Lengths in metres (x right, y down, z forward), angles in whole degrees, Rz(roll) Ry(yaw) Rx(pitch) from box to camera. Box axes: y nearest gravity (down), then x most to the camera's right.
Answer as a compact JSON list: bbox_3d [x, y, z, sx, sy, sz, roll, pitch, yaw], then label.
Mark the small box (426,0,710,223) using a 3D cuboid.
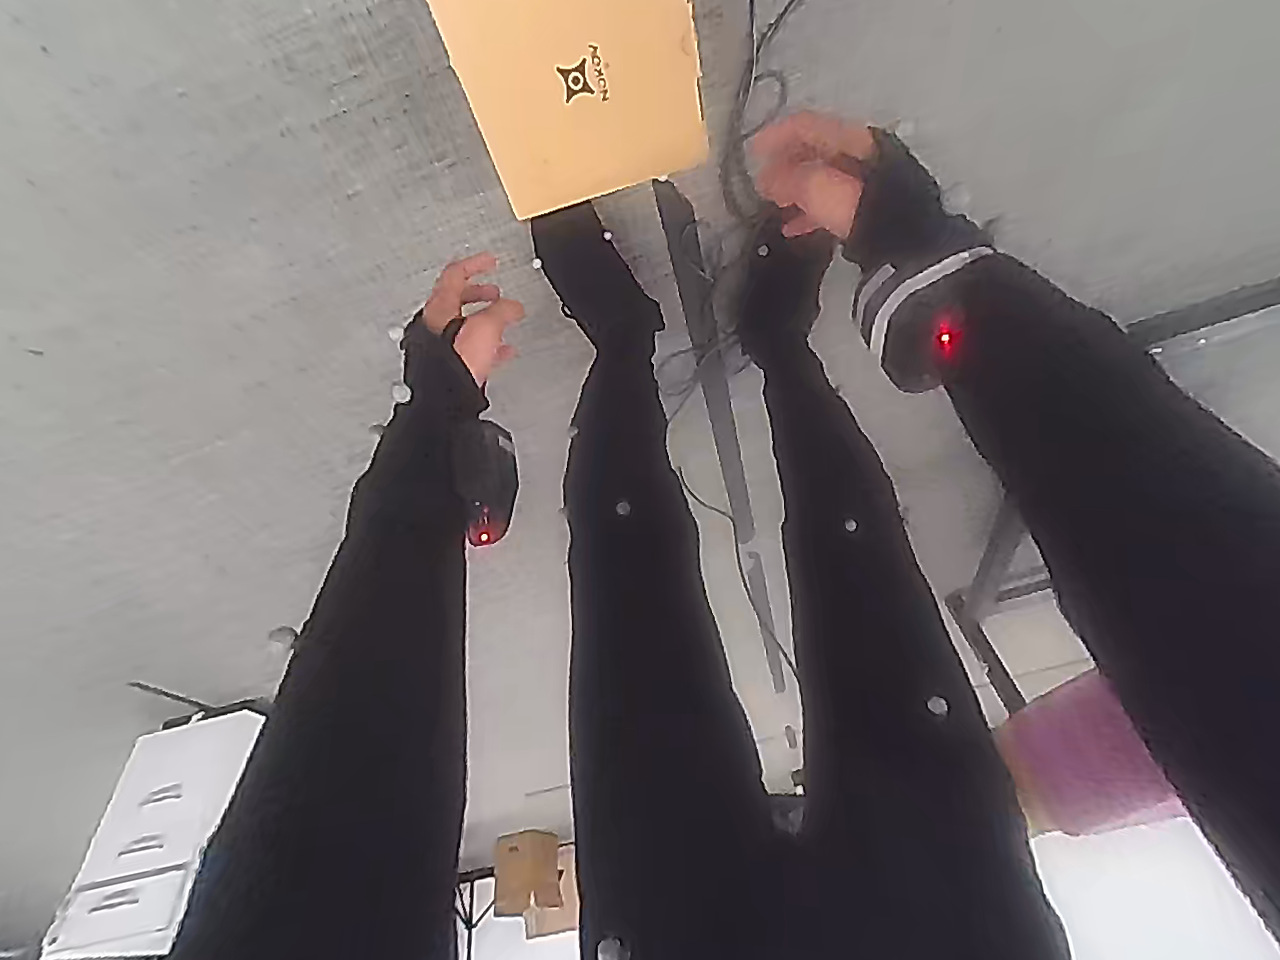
[{"bbox_3d":[-0.051,-0.353,0.456,0.179,0.176,0.168,-15,138,5],"label":"small box"}]
